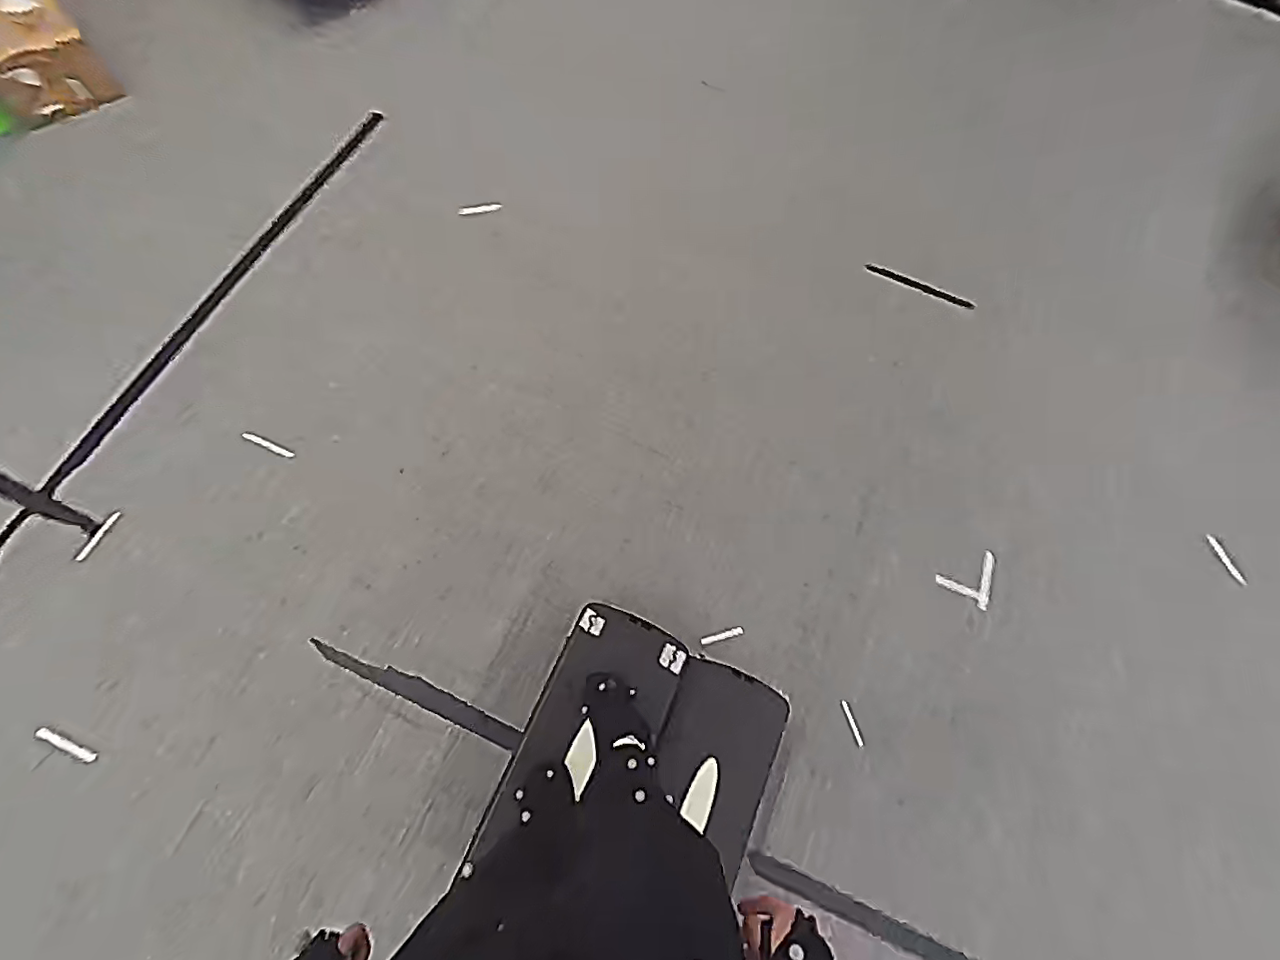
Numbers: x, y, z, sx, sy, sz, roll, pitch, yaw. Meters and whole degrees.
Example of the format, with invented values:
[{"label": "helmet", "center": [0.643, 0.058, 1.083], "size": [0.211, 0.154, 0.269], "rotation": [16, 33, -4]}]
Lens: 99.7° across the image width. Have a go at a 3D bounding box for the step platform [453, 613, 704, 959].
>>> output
[{"label": "step platform", "center": [-0.117, 0.653, 1.224], "size": [0.286, 0.204, 0.684], "rotation": [28, 68, 6]}]
